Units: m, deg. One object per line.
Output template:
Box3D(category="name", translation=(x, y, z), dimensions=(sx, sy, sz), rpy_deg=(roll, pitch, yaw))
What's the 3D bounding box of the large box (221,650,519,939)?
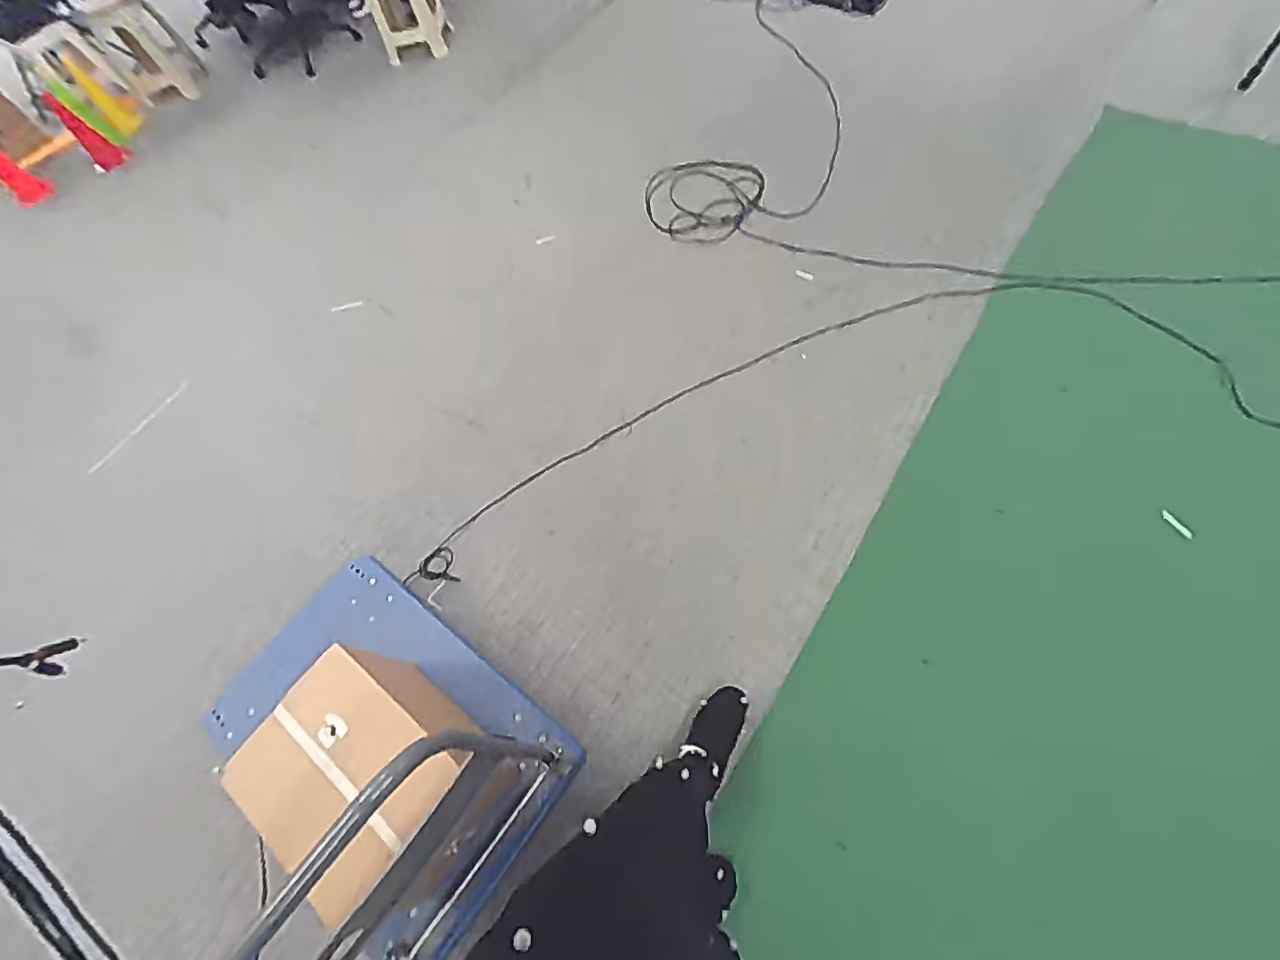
Box3D(category="large box", translation=(-0.539, 0.624, 1.139), dimensions=(0.408, 0.320, 0.320), rpy_deg=(31, 71, 22))
